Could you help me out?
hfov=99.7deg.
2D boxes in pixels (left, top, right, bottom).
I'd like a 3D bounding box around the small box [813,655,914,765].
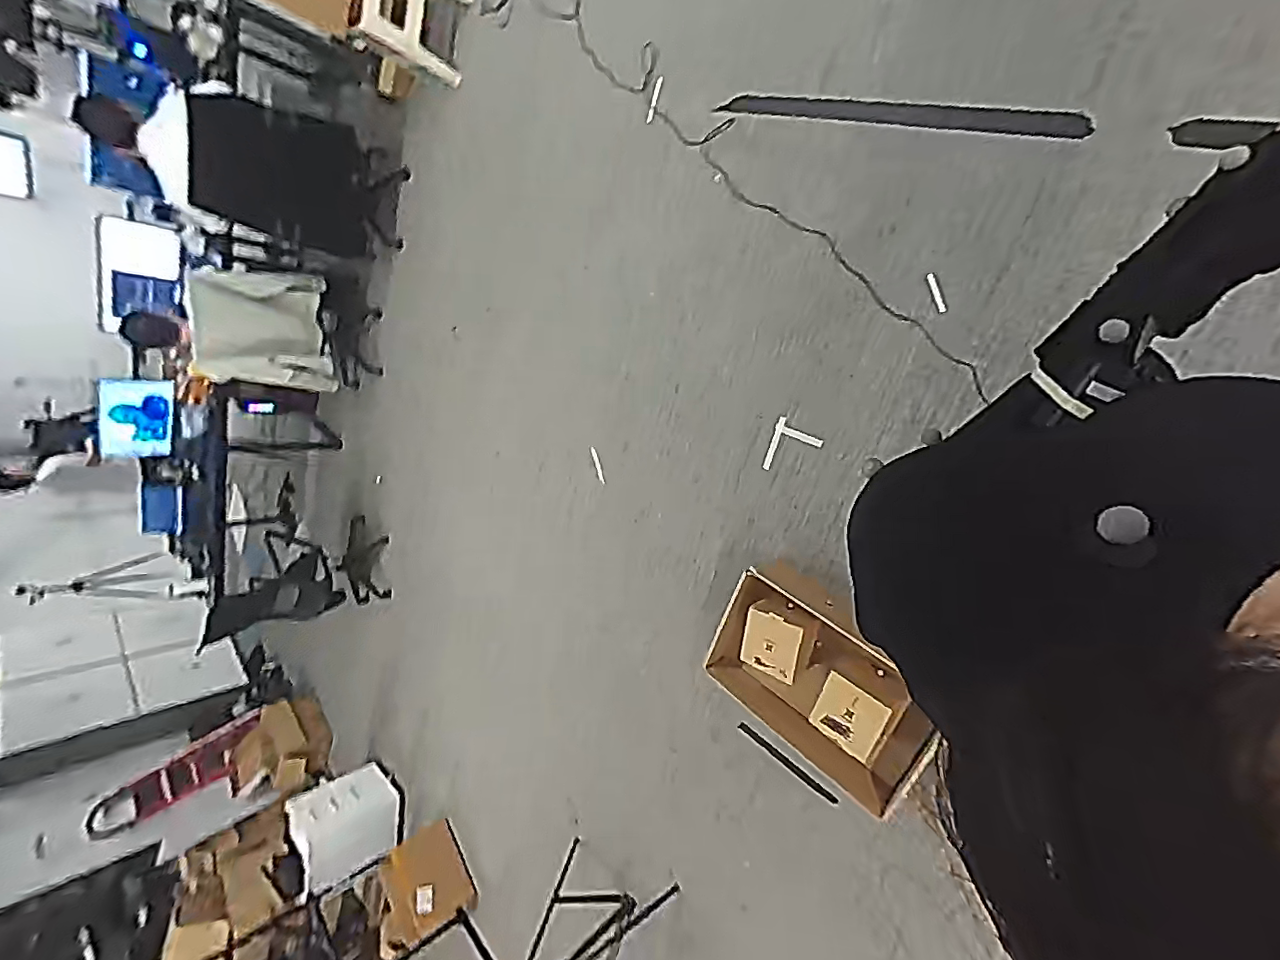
[{"bbox_3d":[0.591,0.596,1.422,0.168,0.176,0.179,31,114,37],"label":"small box"}]
